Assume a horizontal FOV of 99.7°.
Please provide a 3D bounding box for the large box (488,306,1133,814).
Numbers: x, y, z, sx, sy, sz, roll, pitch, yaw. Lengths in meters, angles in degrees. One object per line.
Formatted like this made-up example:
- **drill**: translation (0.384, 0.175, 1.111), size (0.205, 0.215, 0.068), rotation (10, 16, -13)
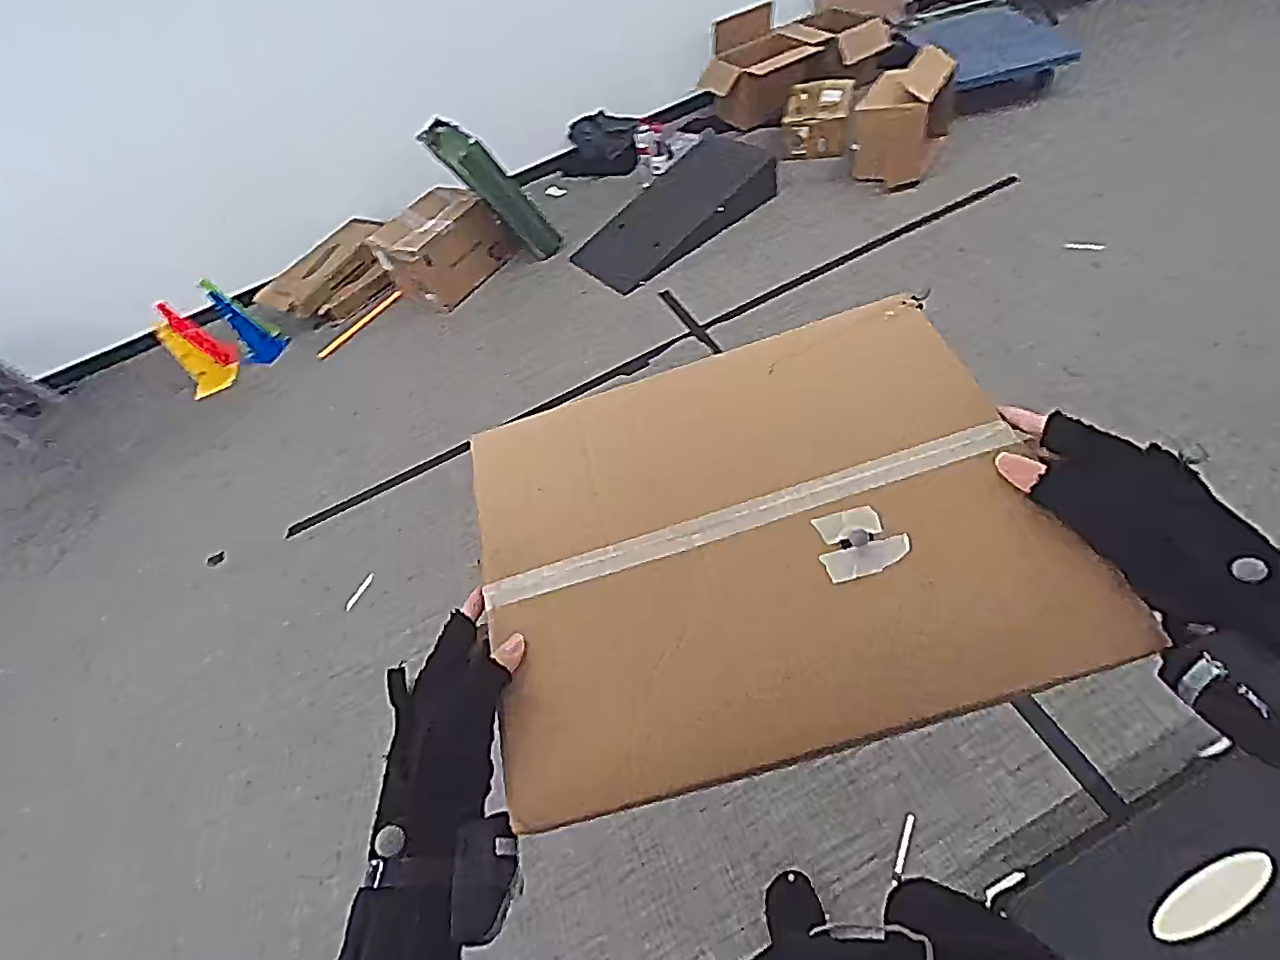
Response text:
- **large box**: translation (0.110, 0.100, 0.543), size (0.408, 0.320, 0.320), rotation (-18, 60, 3)
